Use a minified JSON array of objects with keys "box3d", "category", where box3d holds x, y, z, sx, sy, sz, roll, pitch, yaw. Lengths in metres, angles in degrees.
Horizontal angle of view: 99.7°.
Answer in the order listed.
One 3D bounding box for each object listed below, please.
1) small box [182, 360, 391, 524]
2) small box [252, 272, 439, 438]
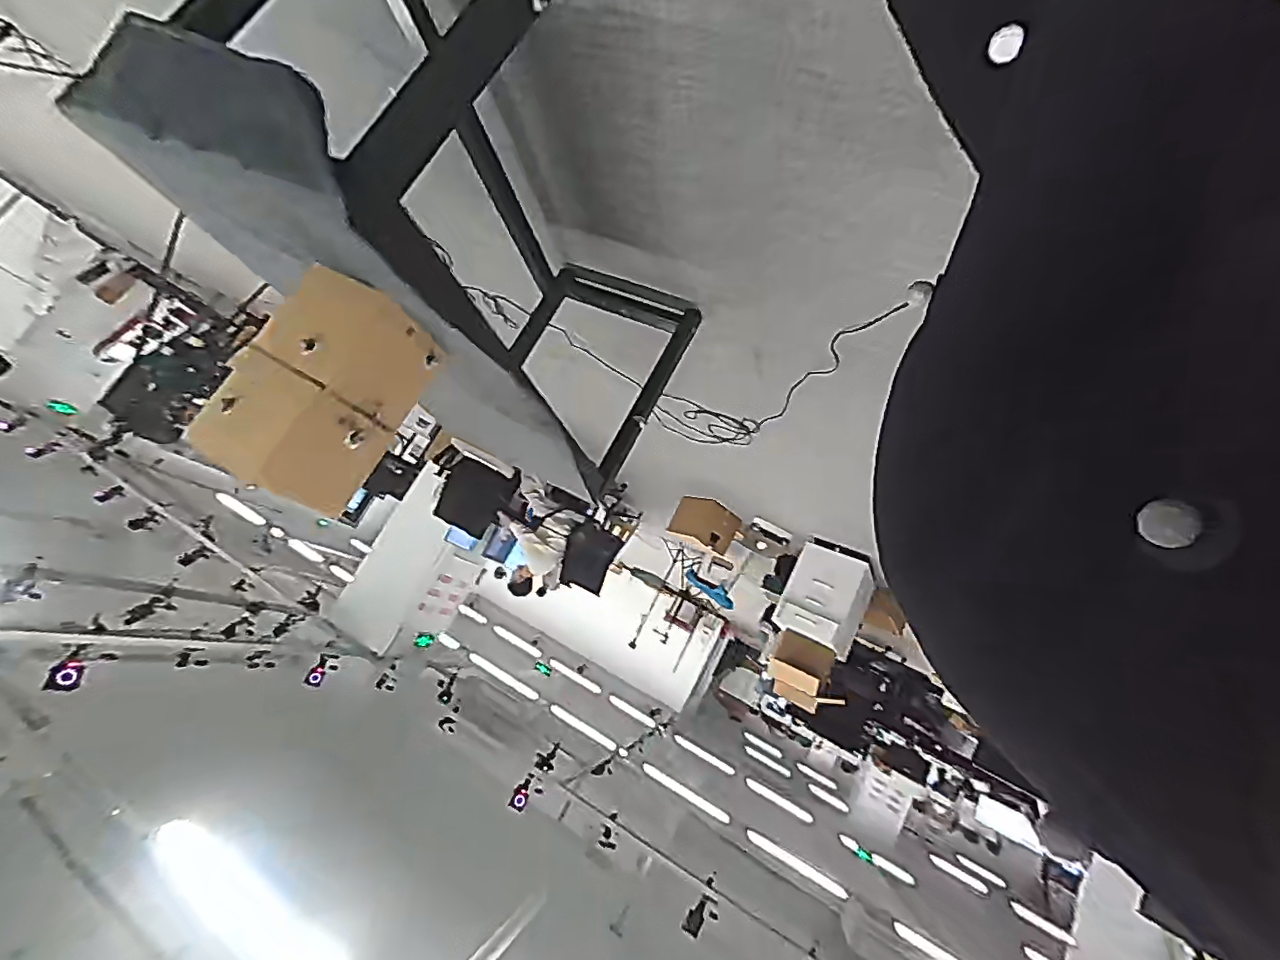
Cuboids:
[{"box3d":[-0.529,-0.060,0.831,0.179,0.176,0.168,25,169,21],"category":"small box"},{"box3d":[-0.452,-0.199,0.865,0.179,0.176,0.168,28,168,18],"category":"small box"}]
